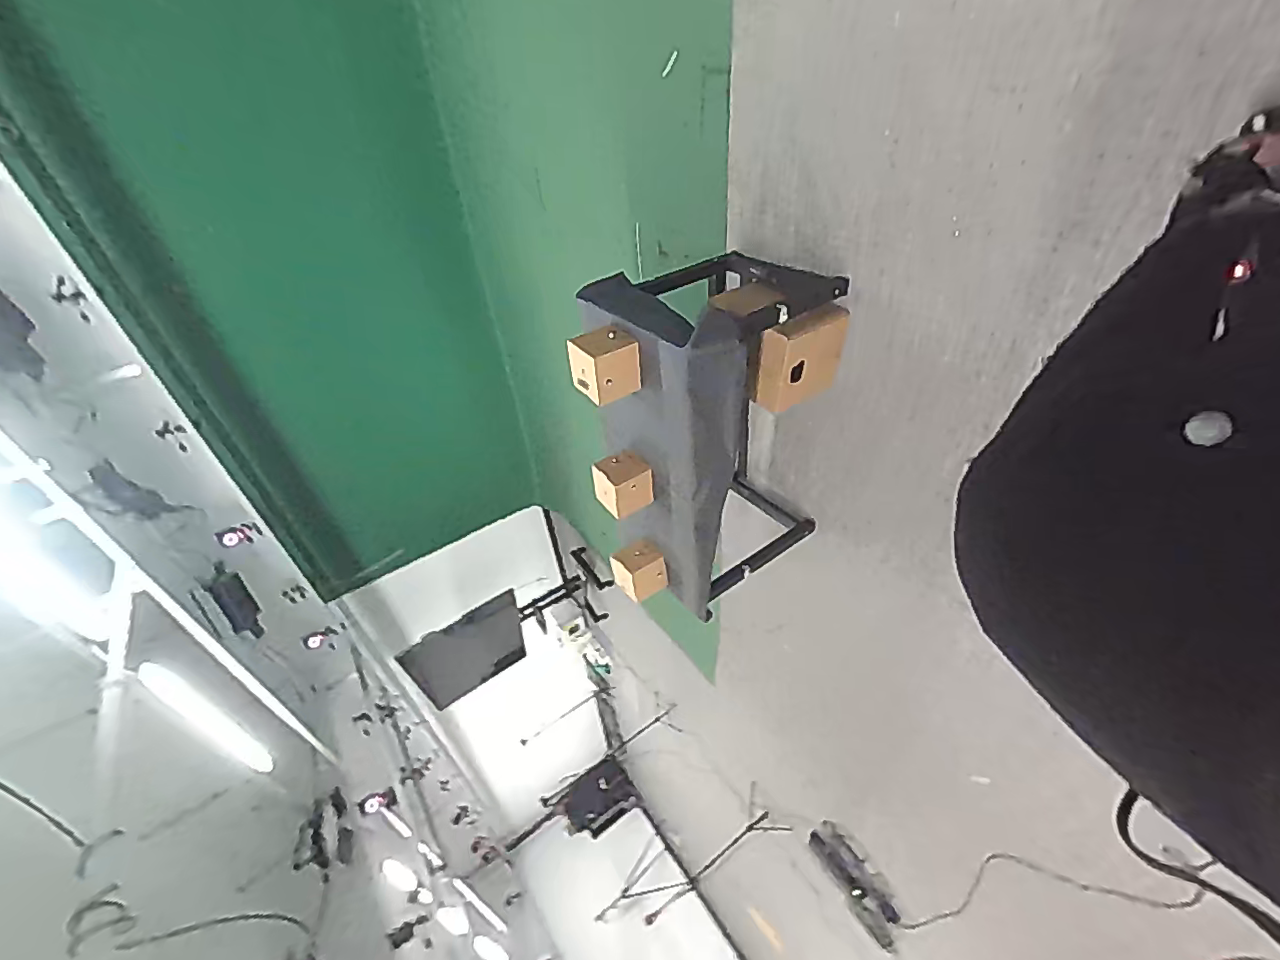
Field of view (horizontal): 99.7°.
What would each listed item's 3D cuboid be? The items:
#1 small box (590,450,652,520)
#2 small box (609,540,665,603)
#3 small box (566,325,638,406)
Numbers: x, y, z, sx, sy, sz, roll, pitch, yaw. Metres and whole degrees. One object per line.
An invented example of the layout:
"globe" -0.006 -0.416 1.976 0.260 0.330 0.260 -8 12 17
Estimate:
"small box" -0.069 0.013 2.071 0.168 0.176 0.179 43 151 40
"small box" -0.009 0.388 2.333 0.168 0.176 0.179 36 144 47
"small box" -0.119 -0.375 1.756 0.168 0.176 0.179 42 148 39
